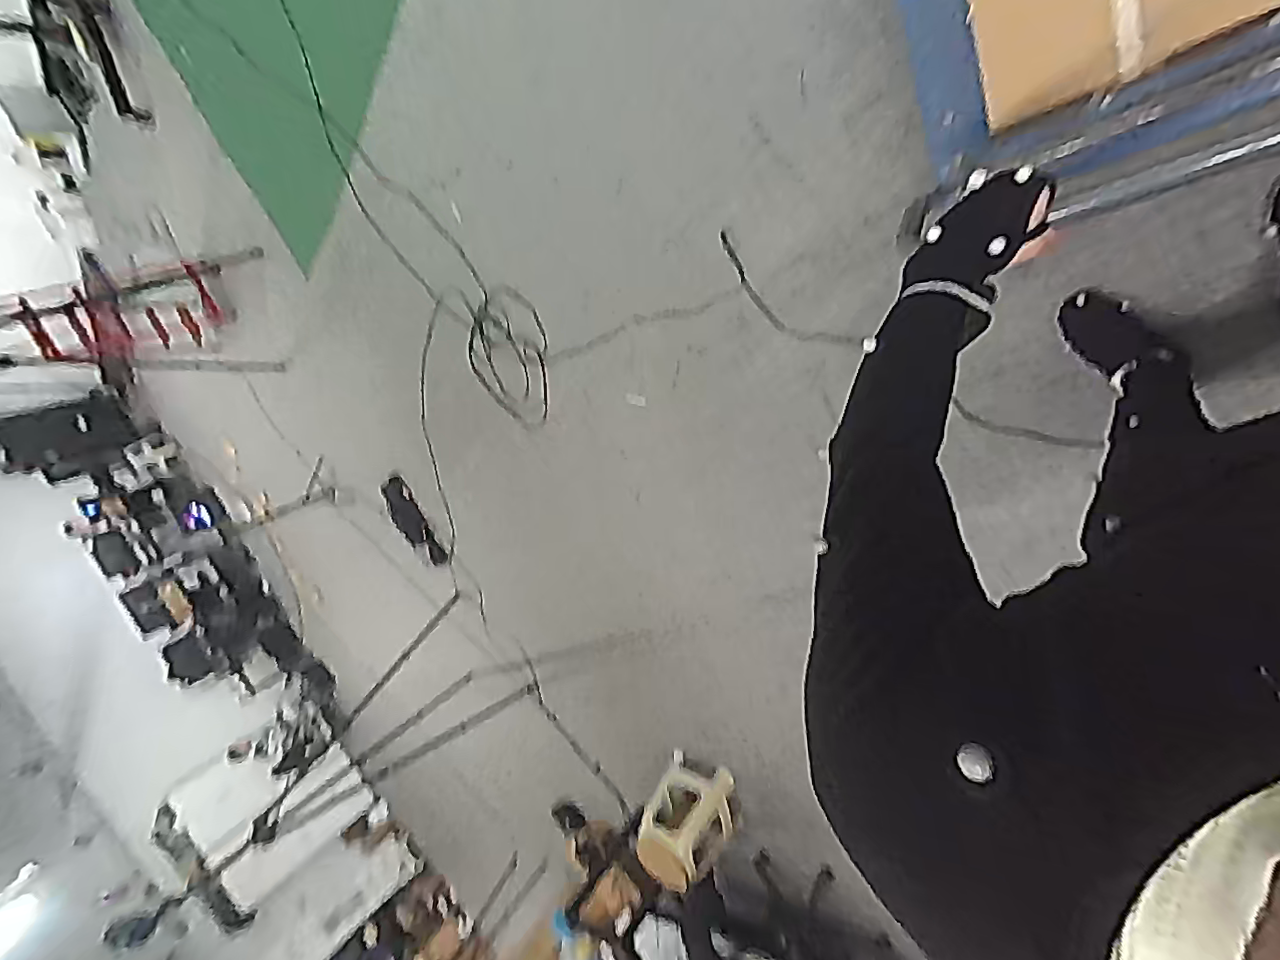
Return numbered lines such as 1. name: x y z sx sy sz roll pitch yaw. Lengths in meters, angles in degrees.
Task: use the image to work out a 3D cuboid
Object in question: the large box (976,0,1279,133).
1. large box: 0.677 -0.790 0.774 0.320 0.320 0.408 -8 109 41
